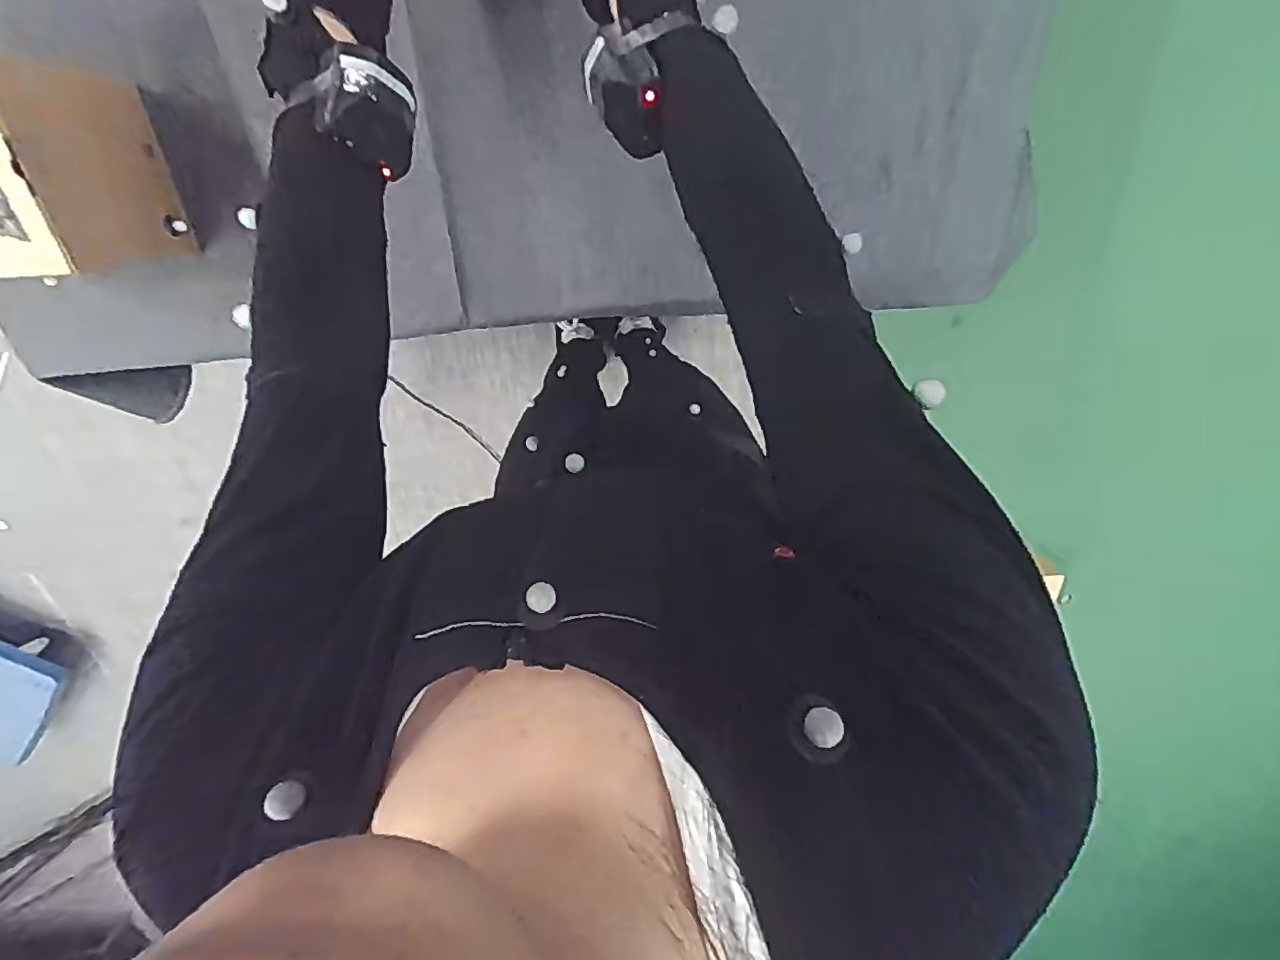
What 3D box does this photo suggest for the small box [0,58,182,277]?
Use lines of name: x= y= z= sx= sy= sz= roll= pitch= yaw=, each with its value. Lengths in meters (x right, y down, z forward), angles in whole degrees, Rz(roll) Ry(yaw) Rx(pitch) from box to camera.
small box: x=-0.592 y=-0.289 z=0.512 sx=0.179 sy=0.176 sz=0.168 roll=-3 pitch=118 yaw=0
